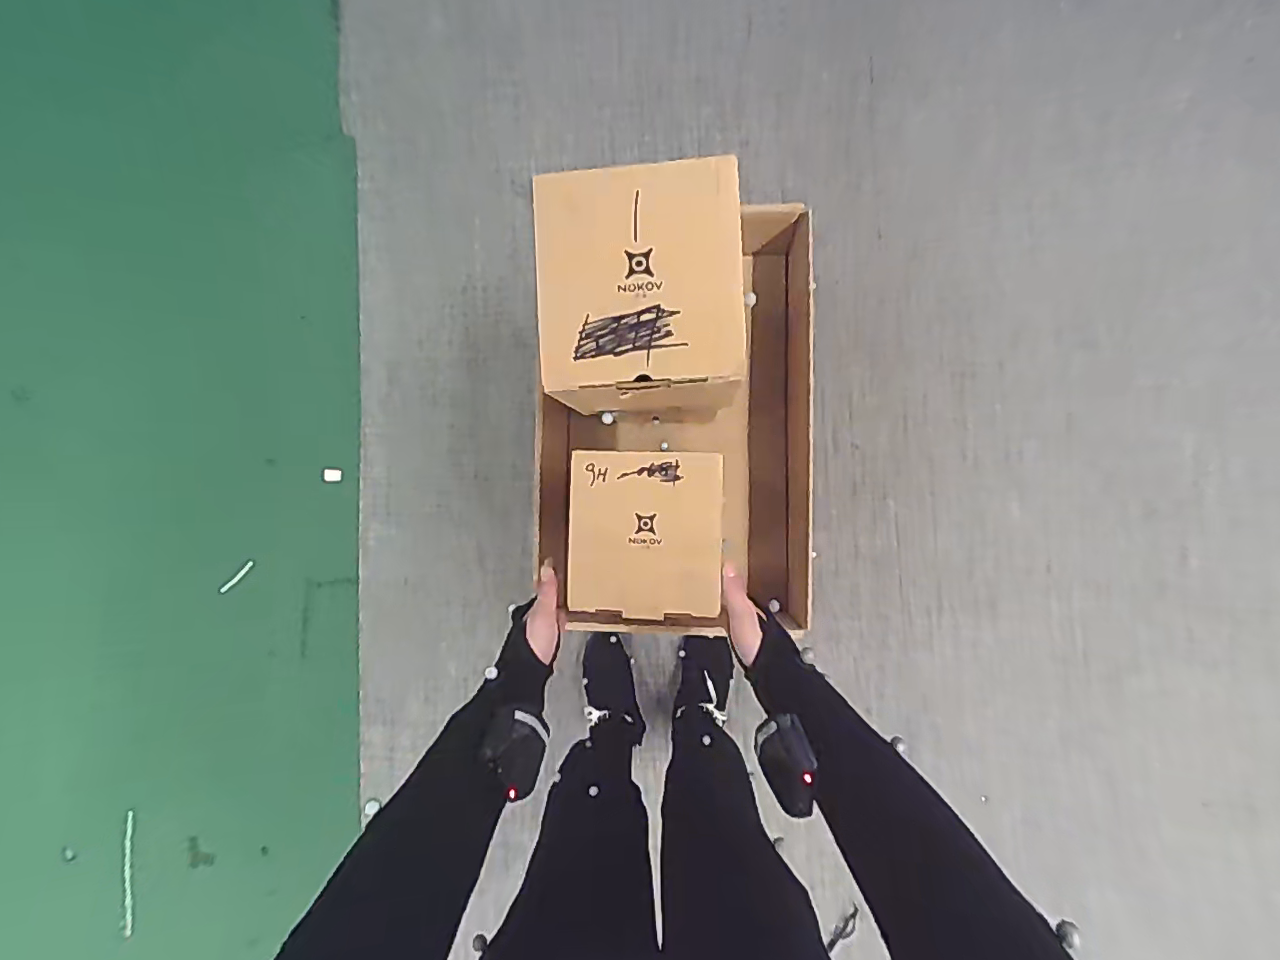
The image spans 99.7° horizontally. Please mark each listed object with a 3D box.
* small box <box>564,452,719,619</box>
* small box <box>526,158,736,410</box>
[{"bbox_3d":[0.009,0.061,0.655,0.168,0.176,0.179,1,87,6],"label":"small box"},{"bbox_3d":[0.001,-0.161,0.508,0.168,0.176,0.179,-3,90,6],"label":"small box"}]
